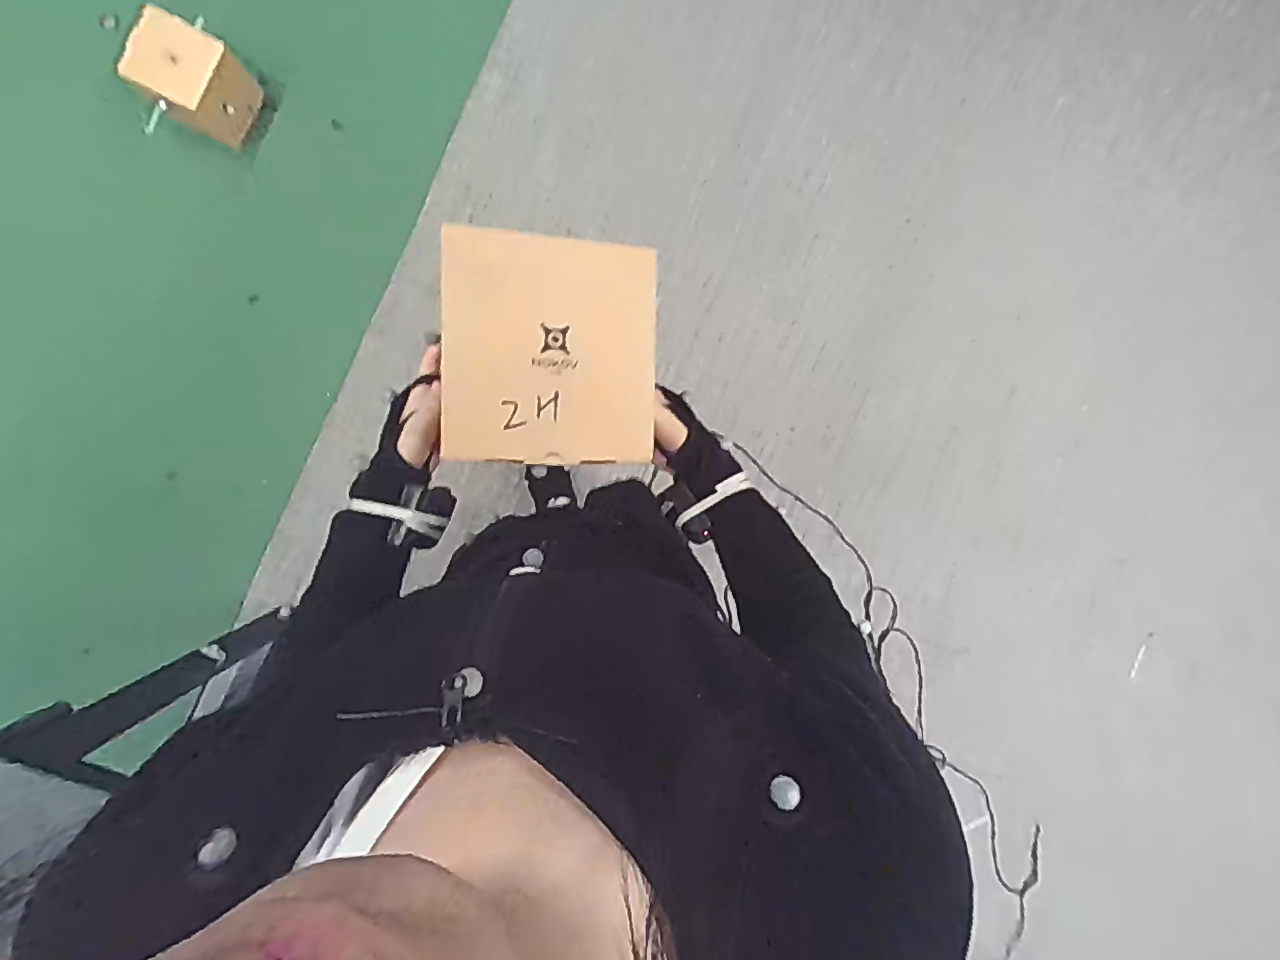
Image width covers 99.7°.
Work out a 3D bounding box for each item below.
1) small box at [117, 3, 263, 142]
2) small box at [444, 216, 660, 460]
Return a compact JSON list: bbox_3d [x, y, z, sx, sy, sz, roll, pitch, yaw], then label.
[{"bbox_3d":[-1.041,-0.939,1.269,0.179,0.176,0.168,25,90,-6],"label":"small box"},{"bbox_3d":[-0.087,-0.110,0.496,0.168,0.176,0.179,1,94,-16],"label":"small box"}]
